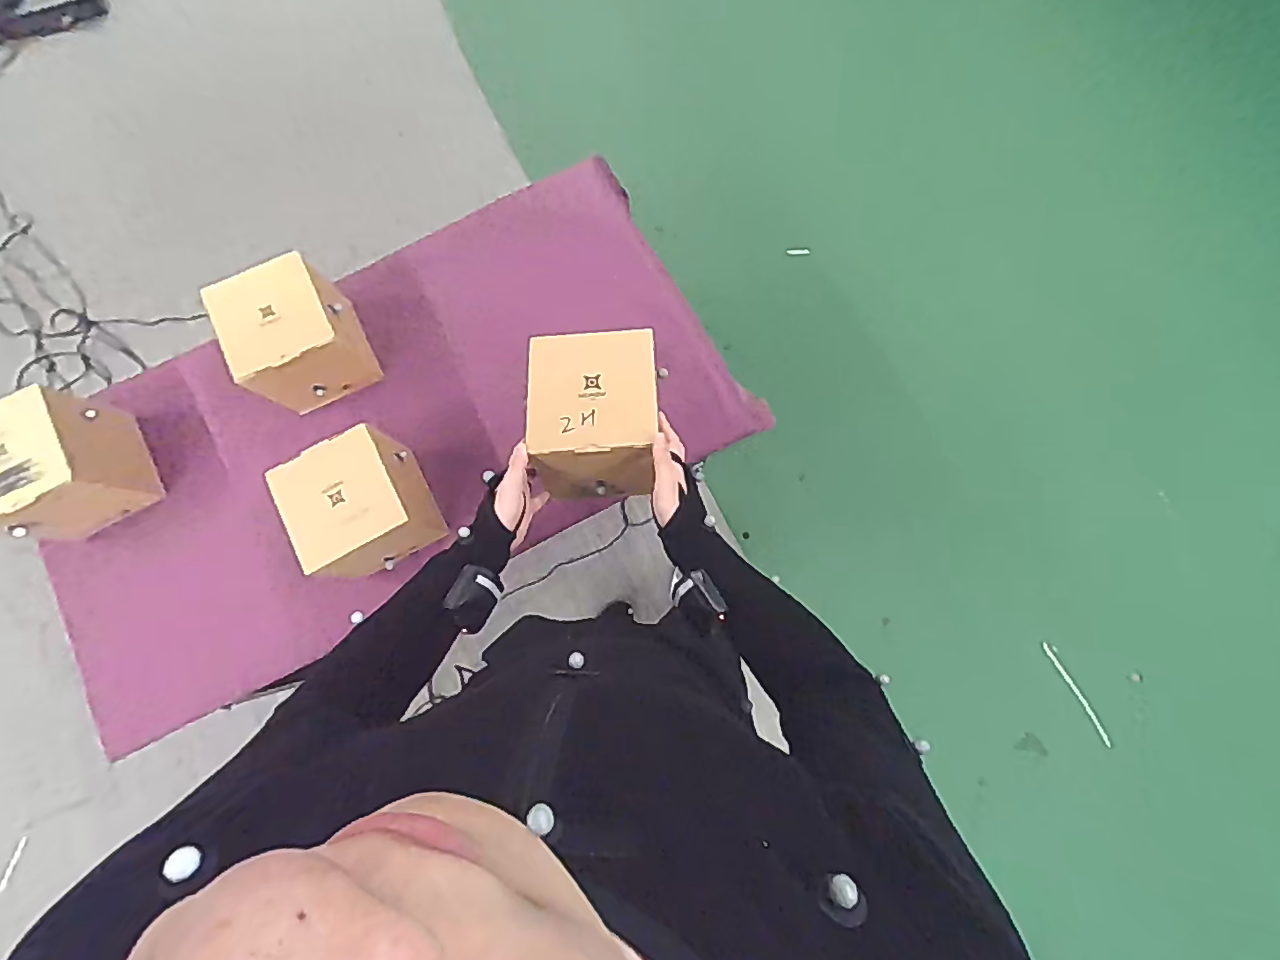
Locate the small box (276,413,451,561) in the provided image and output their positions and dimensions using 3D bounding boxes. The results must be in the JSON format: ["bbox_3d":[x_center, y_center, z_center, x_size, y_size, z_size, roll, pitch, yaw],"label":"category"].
[{"bbox_3d":[-0.445,0.021,0.894,0.168,0.176,0.179,-28,79,-3],"label":"small box"}]

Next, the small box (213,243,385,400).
[{"bbox_3d":[-0.586,-0.268,0.951,0.168,0.176,0.179,-26,82,-4],"label":"small box"}]

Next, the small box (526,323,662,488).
[{"bbox_3d":[-0.056,-0.100,0.772,0.168,0.176,0.179,-2,69,4],"label":"small box"}]
